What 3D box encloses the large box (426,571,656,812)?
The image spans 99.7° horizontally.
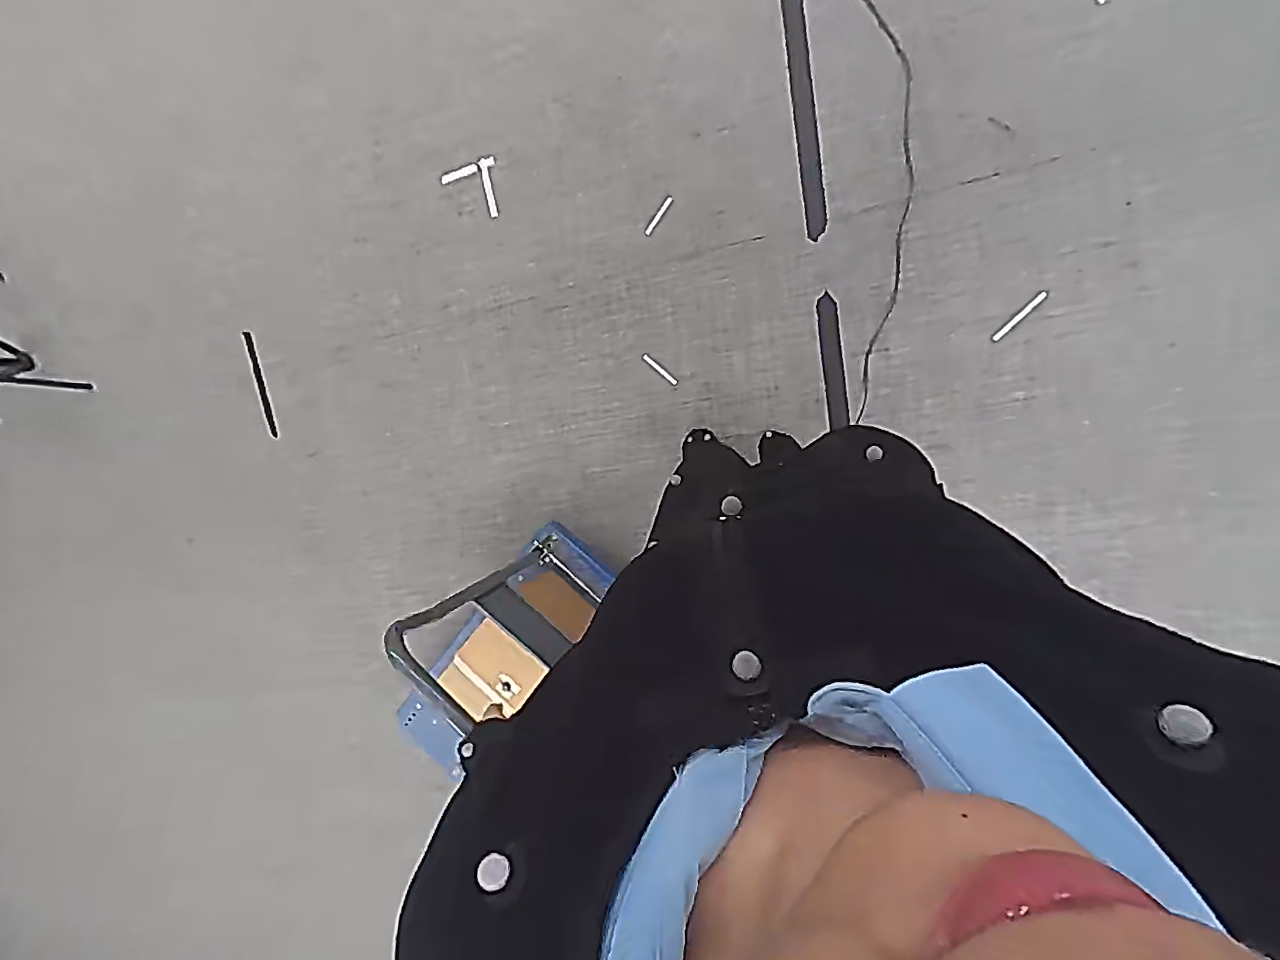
[{"bbox_3d":[-0.231,0.507,1.362,0.408,0.320,0.320,42,107,6],"label":"large box"}]
